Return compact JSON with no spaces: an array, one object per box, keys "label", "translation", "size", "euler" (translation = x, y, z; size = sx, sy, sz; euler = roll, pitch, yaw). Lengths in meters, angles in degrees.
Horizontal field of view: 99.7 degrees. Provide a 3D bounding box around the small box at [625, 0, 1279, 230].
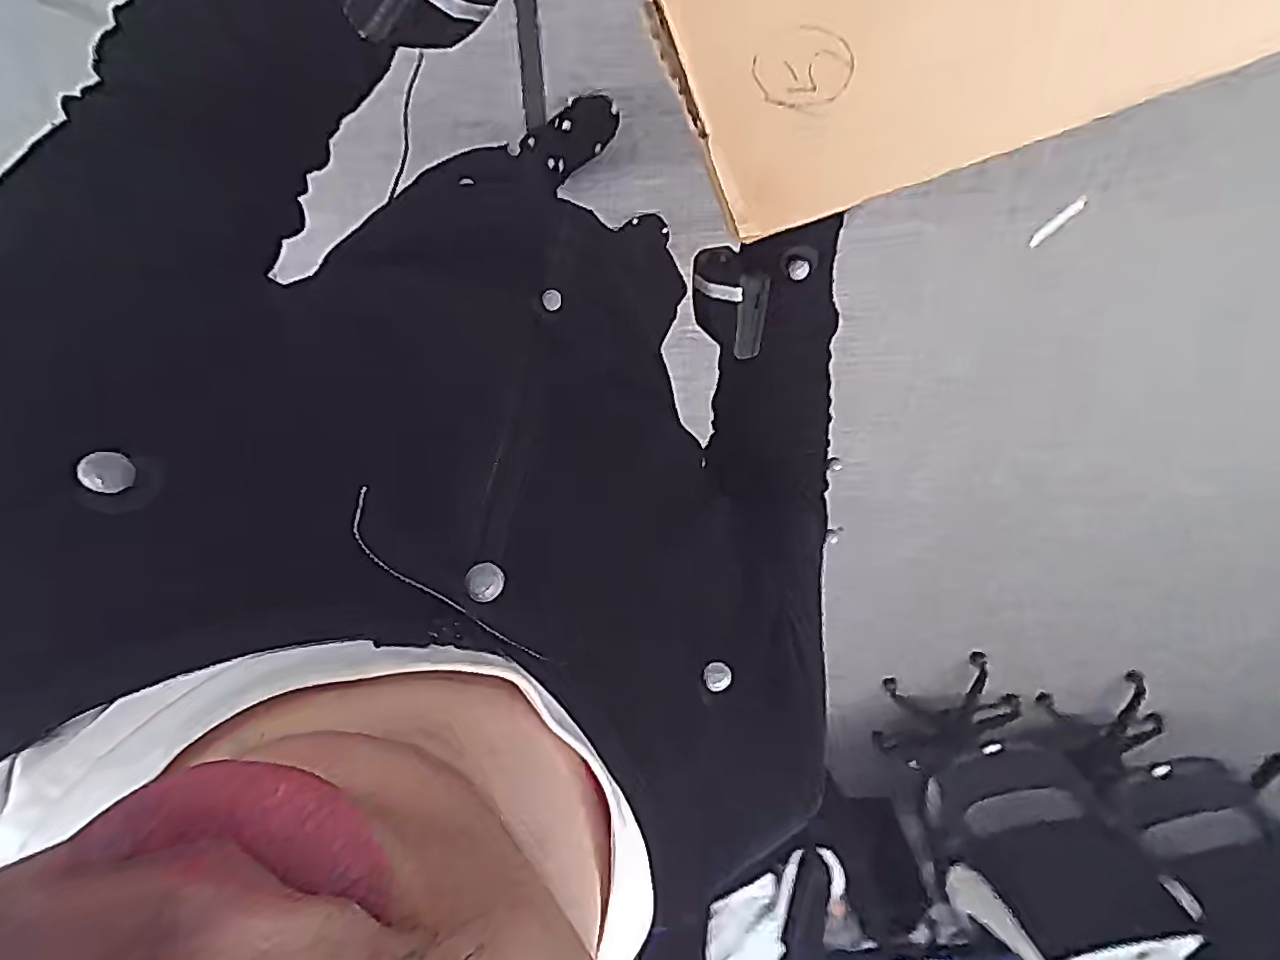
[{"label":"small box","translation":[0.074,-0.202,0.124],"size":[0.179,0.176,0.168],"euler":[-13,139,24]}]
